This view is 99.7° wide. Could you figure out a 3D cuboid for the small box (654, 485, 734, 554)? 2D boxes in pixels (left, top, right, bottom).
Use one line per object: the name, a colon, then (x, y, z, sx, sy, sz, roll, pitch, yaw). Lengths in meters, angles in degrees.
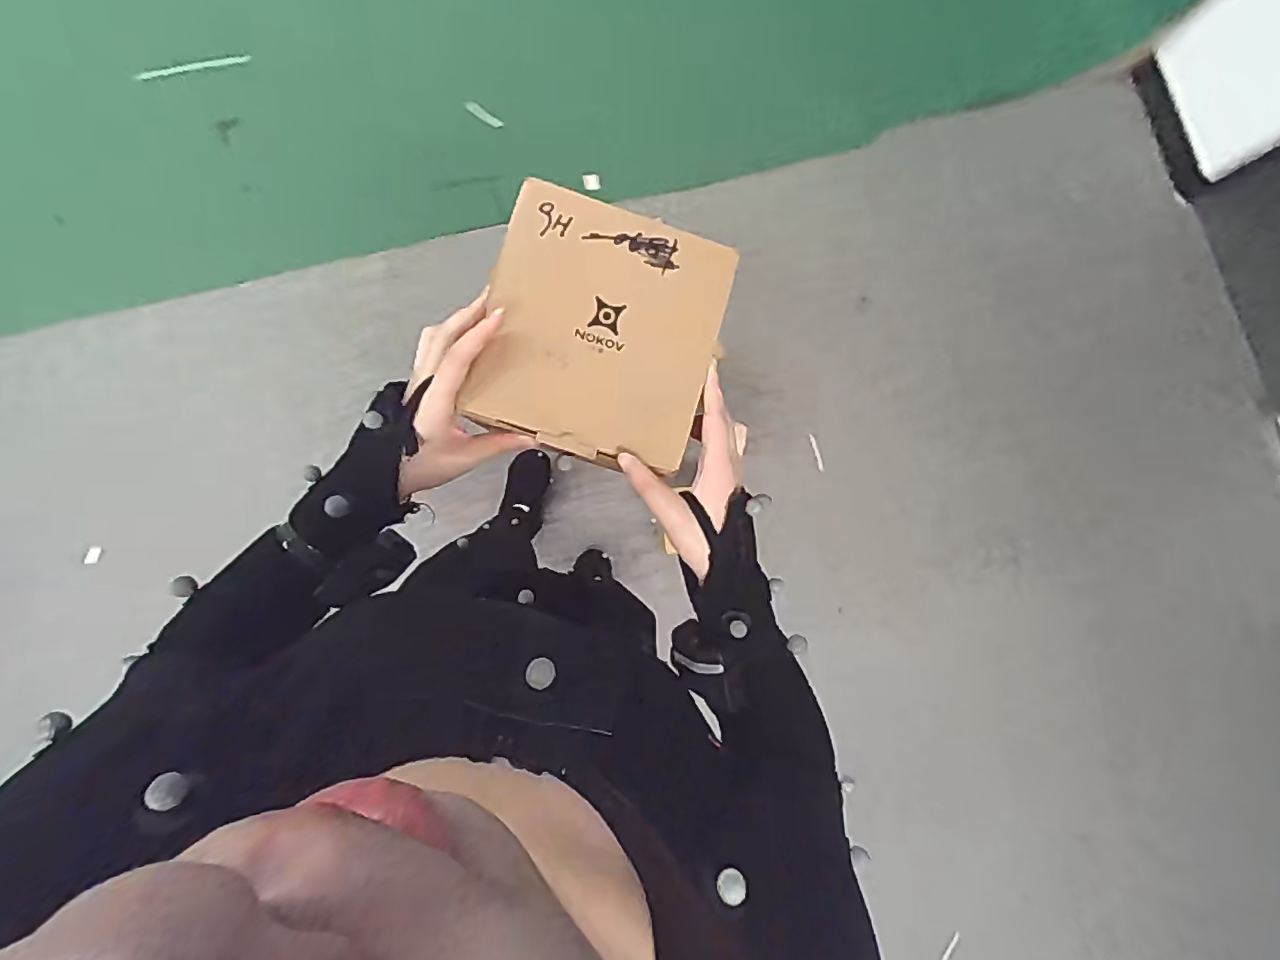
small box: (0.139, 0.104, 1.442, 0.179, 0.176, 0.168, -5, 85, -4)
